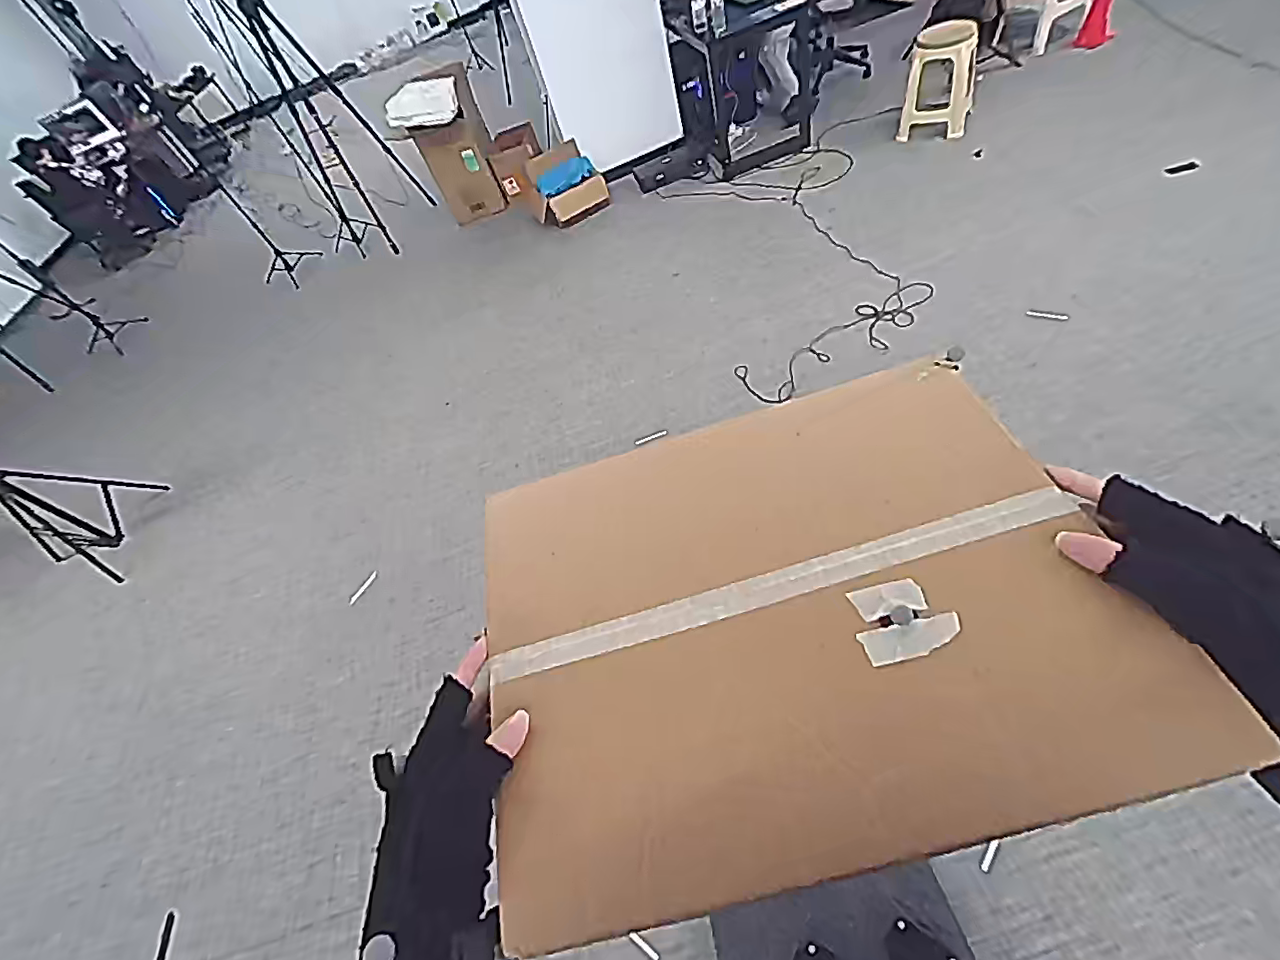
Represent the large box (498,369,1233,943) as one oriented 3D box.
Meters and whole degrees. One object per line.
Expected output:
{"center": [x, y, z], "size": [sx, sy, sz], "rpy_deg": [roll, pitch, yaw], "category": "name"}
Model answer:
{"center": [0.124, 0.165, 0.498], "size": [0.408, 0.320, 0.320], "rpy_deg": [-17, 53, 3], "category": "large box"}
